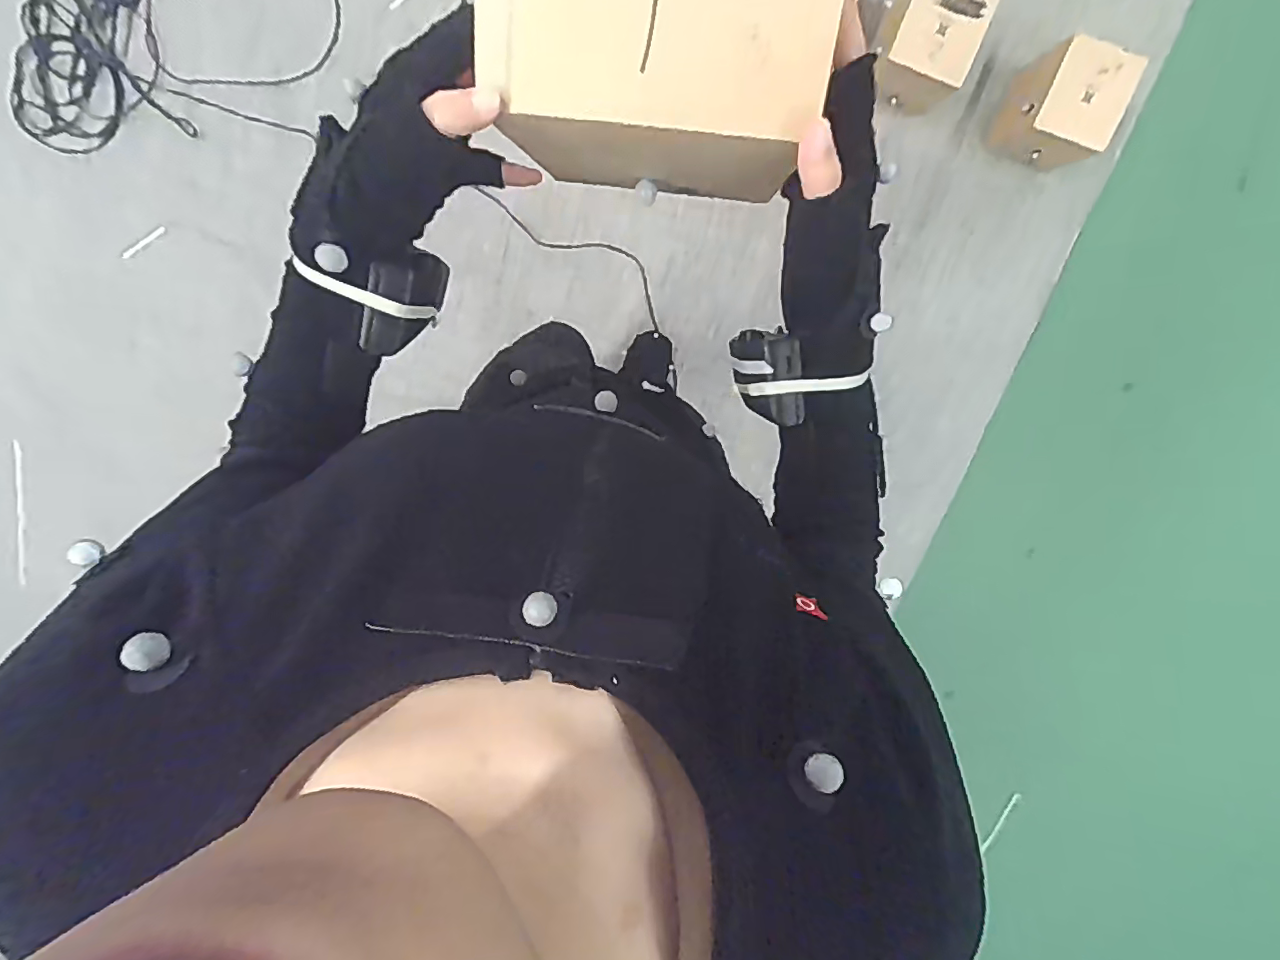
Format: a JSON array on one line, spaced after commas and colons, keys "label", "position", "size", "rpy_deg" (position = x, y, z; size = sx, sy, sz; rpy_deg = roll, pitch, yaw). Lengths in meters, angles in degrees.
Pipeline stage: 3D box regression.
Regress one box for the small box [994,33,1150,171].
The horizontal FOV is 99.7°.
[{"label": "small box", "position": [0.912, -0.799, 1.166], "size": [0.168, 0.176, 0.179], "rpy_deg": [17, 106, -5]}]
